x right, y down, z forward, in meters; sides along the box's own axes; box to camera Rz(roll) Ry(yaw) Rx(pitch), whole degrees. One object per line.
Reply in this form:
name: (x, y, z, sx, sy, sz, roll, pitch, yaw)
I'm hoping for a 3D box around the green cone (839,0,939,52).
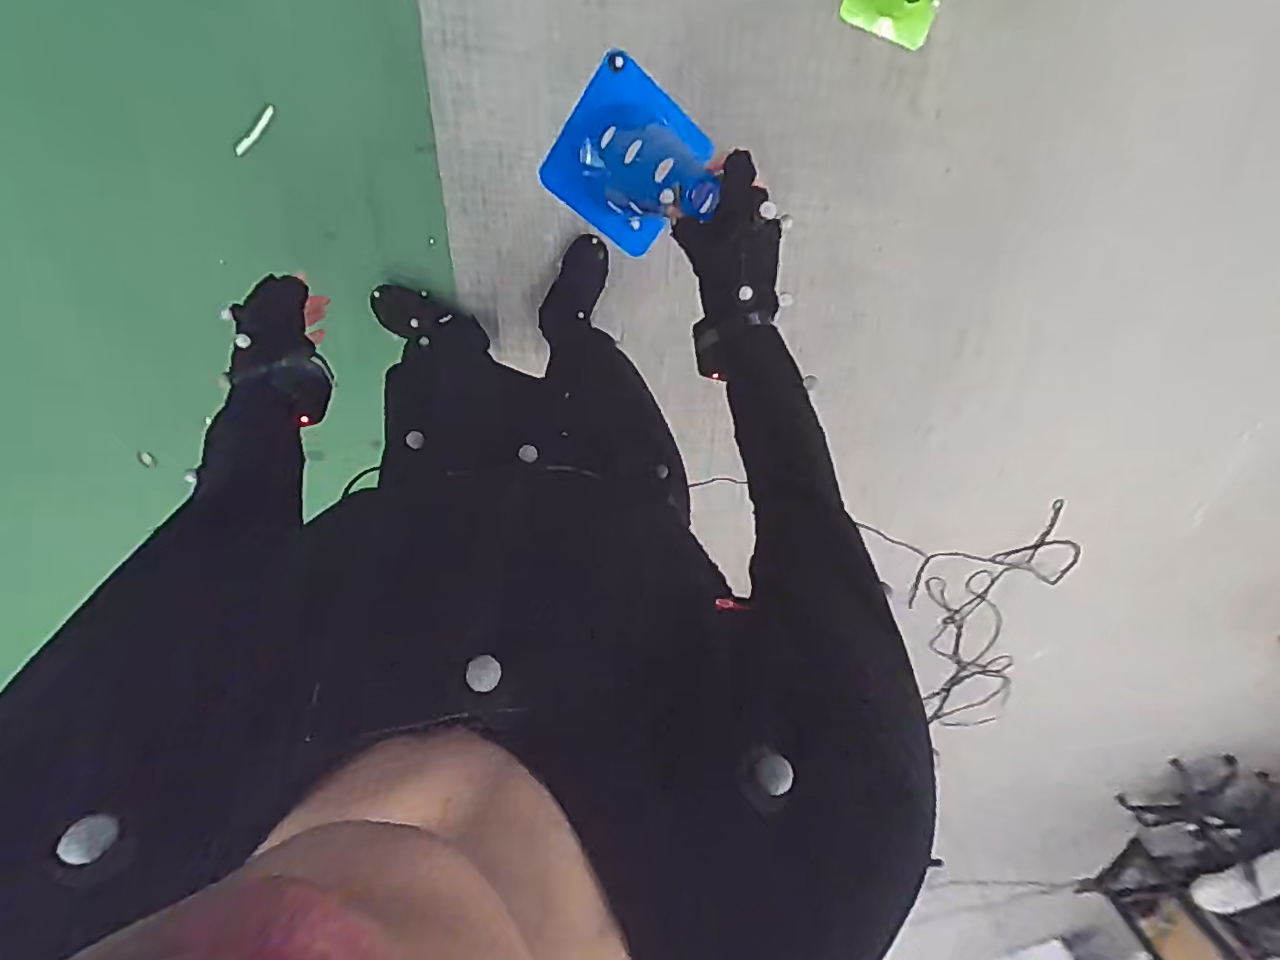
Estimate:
green cone: (0.535, -0.908, 0.924, 0.202, 0.368, 0.200, 8, 119, -13)
